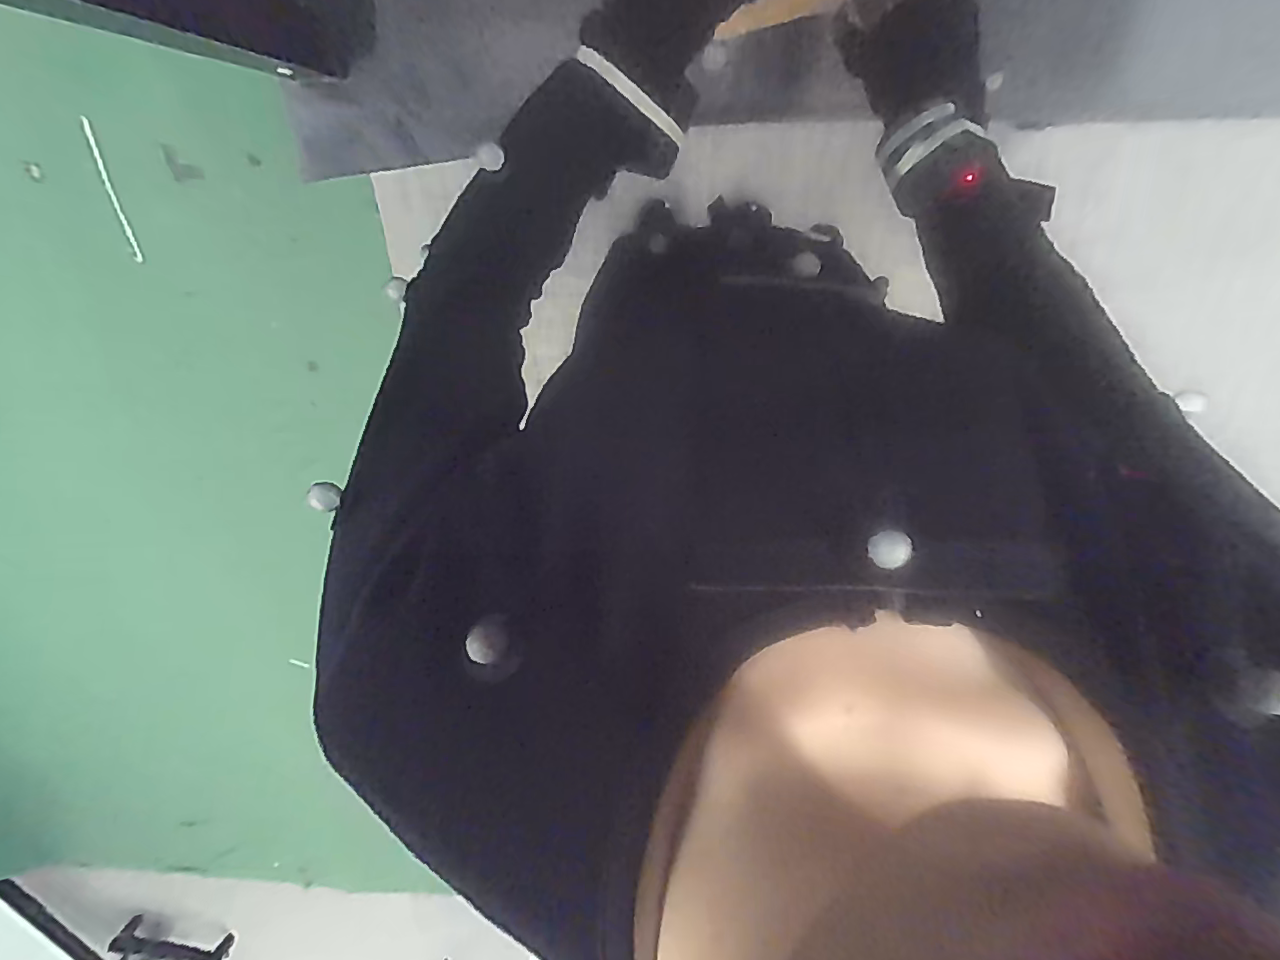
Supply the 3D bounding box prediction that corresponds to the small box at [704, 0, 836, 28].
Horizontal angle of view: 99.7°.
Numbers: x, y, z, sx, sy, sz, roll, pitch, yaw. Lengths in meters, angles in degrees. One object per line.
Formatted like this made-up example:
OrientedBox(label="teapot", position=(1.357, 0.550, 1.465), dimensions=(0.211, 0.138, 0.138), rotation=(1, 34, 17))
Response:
OrientedBox(label="small box", position=(0.114, -0.469, 0.361), dimensions=(0.168, 0.179, 0.176), rotation=(4, 94, 20))
